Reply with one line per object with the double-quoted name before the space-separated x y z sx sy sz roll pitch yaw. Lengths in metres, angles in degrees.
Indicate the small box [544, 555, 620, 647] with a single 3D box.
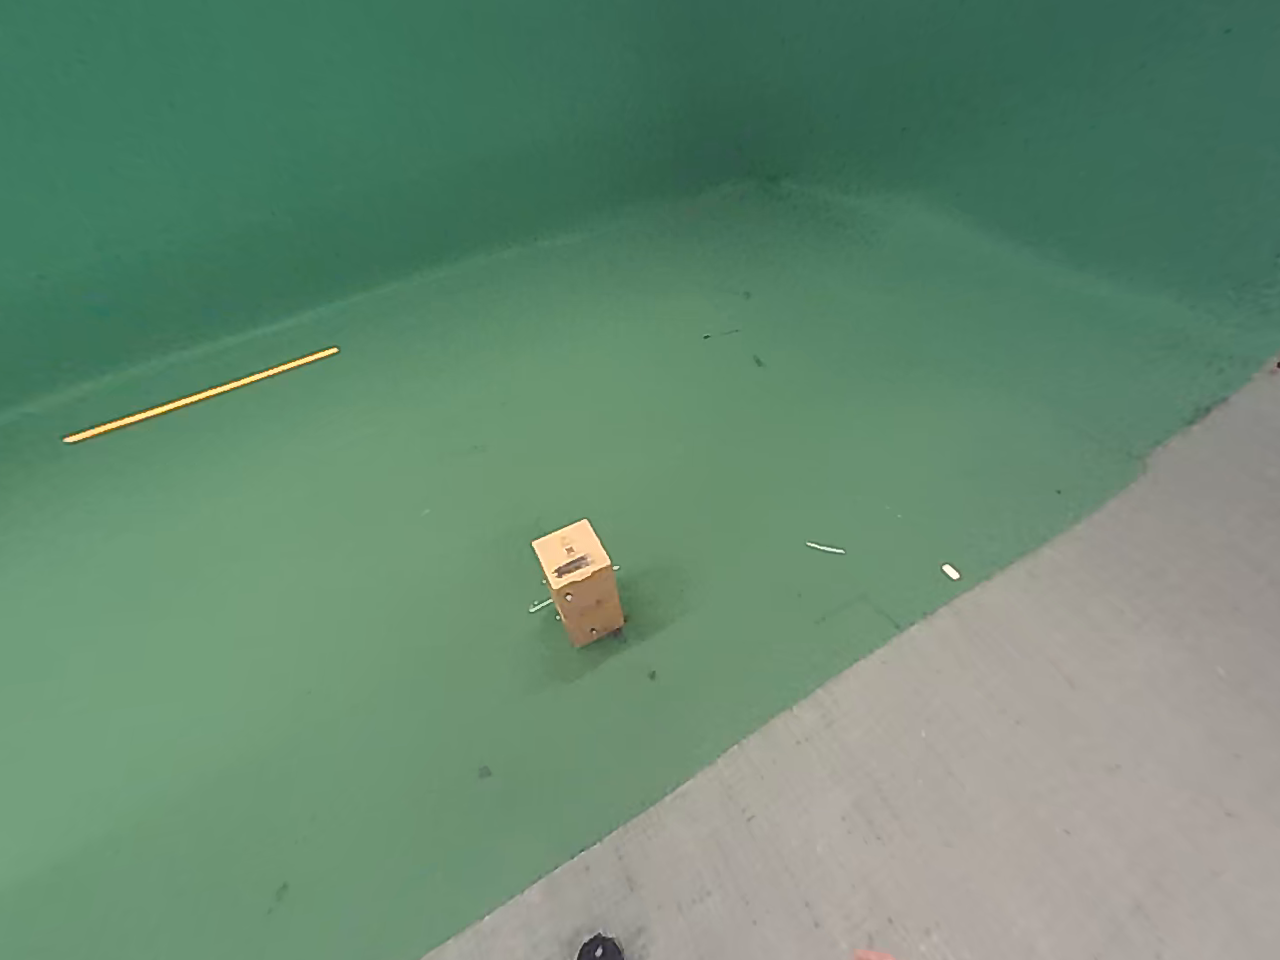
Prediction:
"small box" -0.171 0.362 1.616 0.168 0.176 0.179 -23 50 -15
